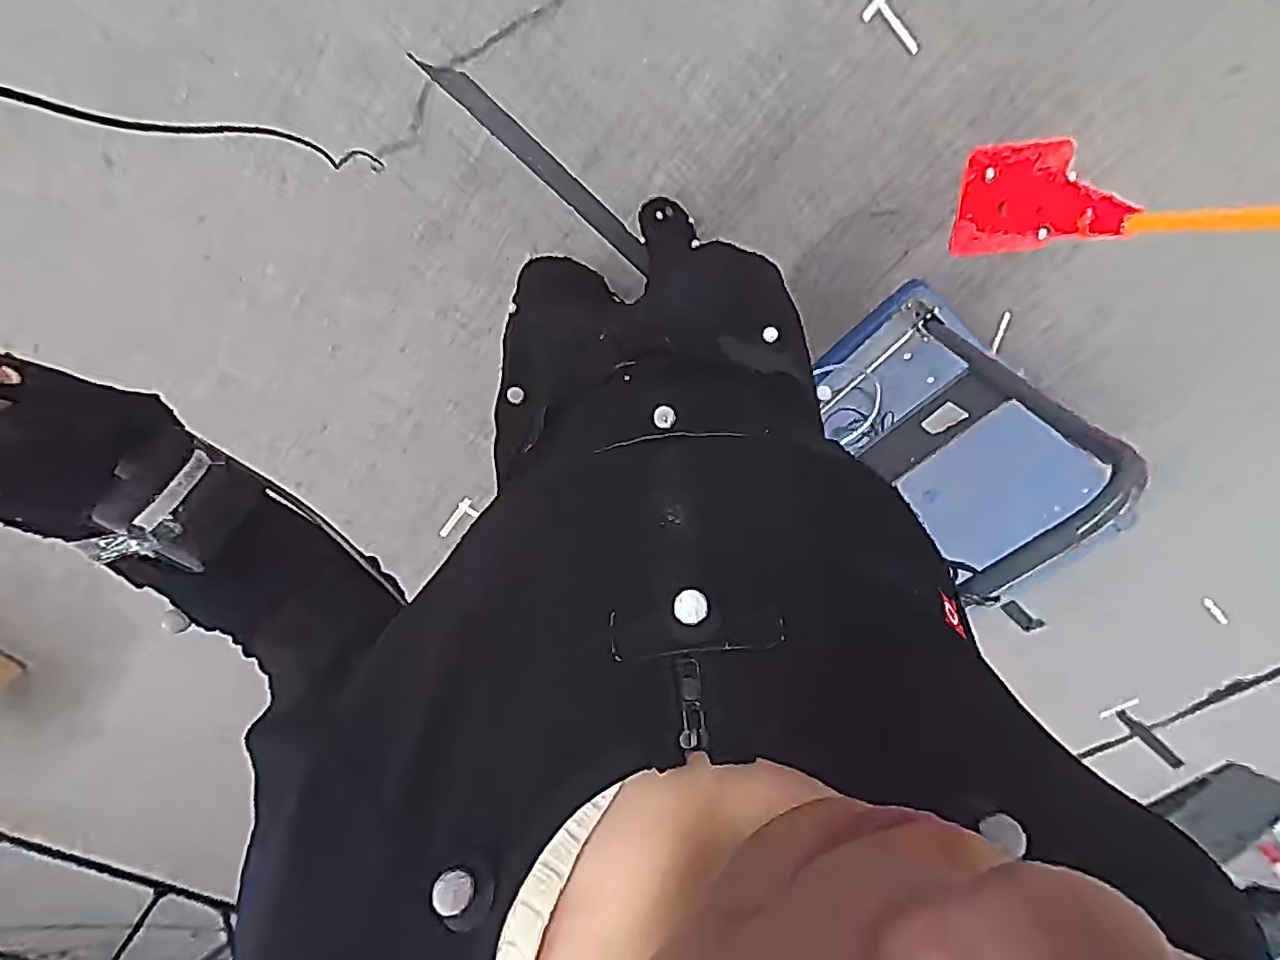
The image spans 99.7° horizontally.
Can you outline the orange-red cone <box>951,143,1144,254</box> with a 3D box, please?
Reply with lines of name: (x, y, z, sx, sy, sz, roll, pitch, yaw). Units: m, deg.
orange-red cone: (0.746, -0.476, 0.958, 0.198, 0.360, 0.199, -2, 123, 4)
